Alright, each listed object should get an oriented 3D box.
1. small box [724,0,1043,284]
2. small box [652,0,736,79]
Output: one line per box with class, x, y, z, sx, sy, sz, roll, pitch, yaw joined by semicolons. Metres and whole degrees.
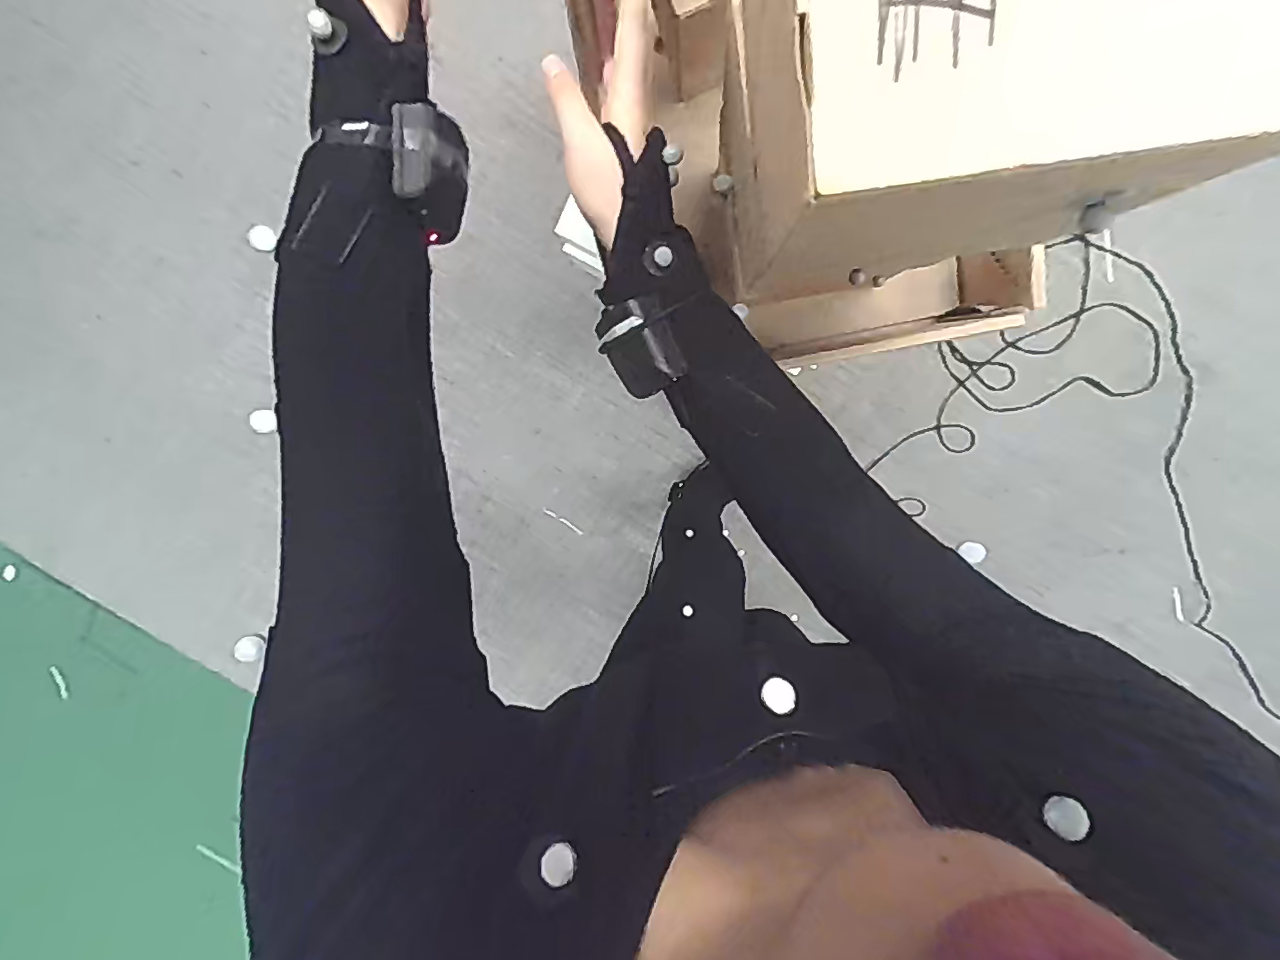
small box;0.162;-0.257;0.410;0.179;0.176;0.168;-7;100;9
small box;0.089;-0.535;0.526;0.168;0.176;0.179;-18;102;9
